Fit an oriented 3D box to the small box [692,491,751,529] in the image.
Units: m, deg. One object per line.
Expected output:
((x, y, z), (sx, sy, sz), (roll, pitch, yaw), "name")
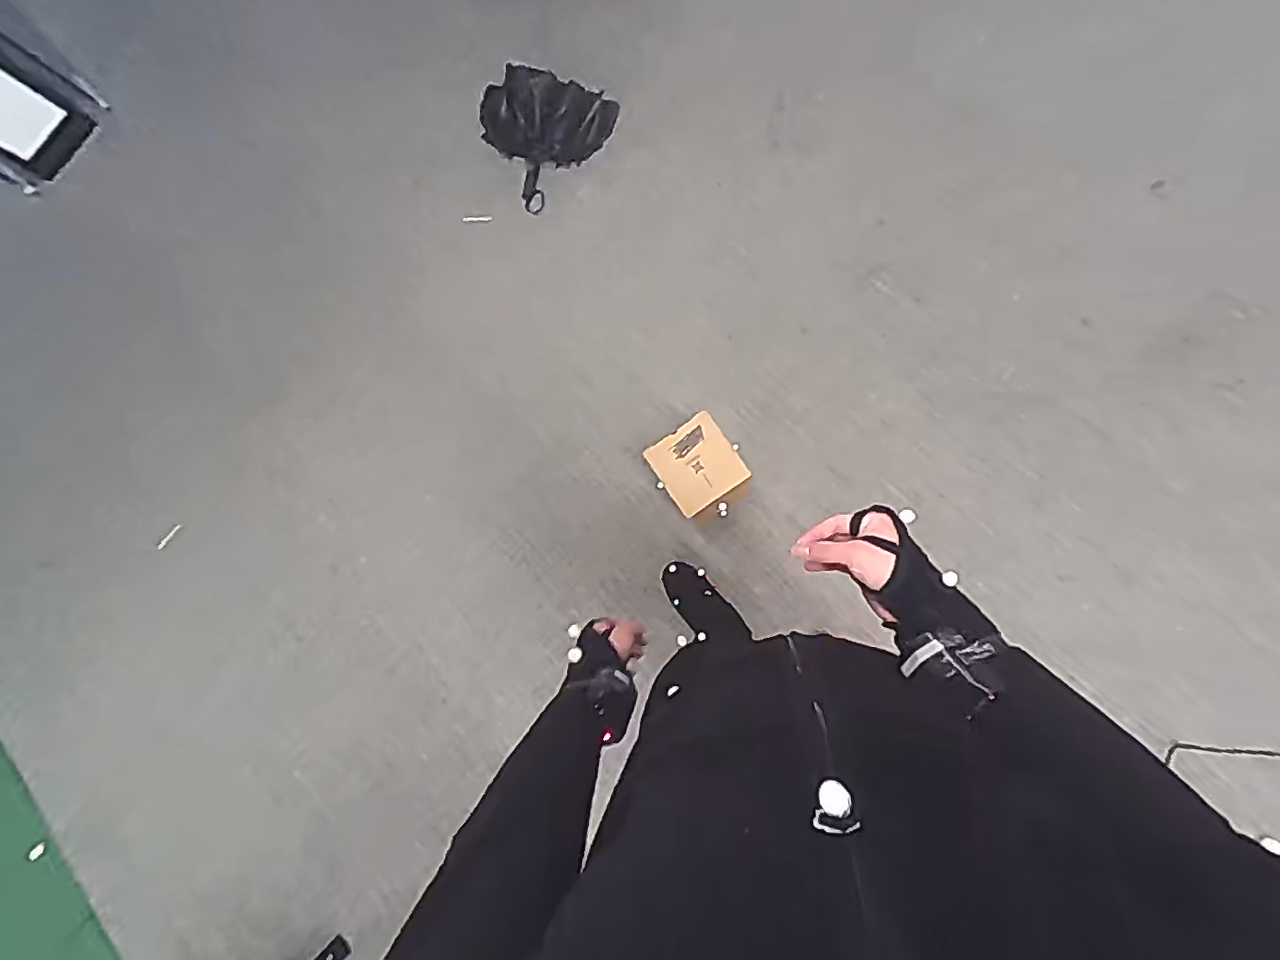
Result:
((0.165, 0.014, 1.384), (0.168, 0.176, 0.179), (-35, 79, 5), "small box")

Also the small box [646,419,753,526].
((0.137, -0.007, 1.223), (0.168, 0.176, 0.179), (-34, 79, 5), "small box")
